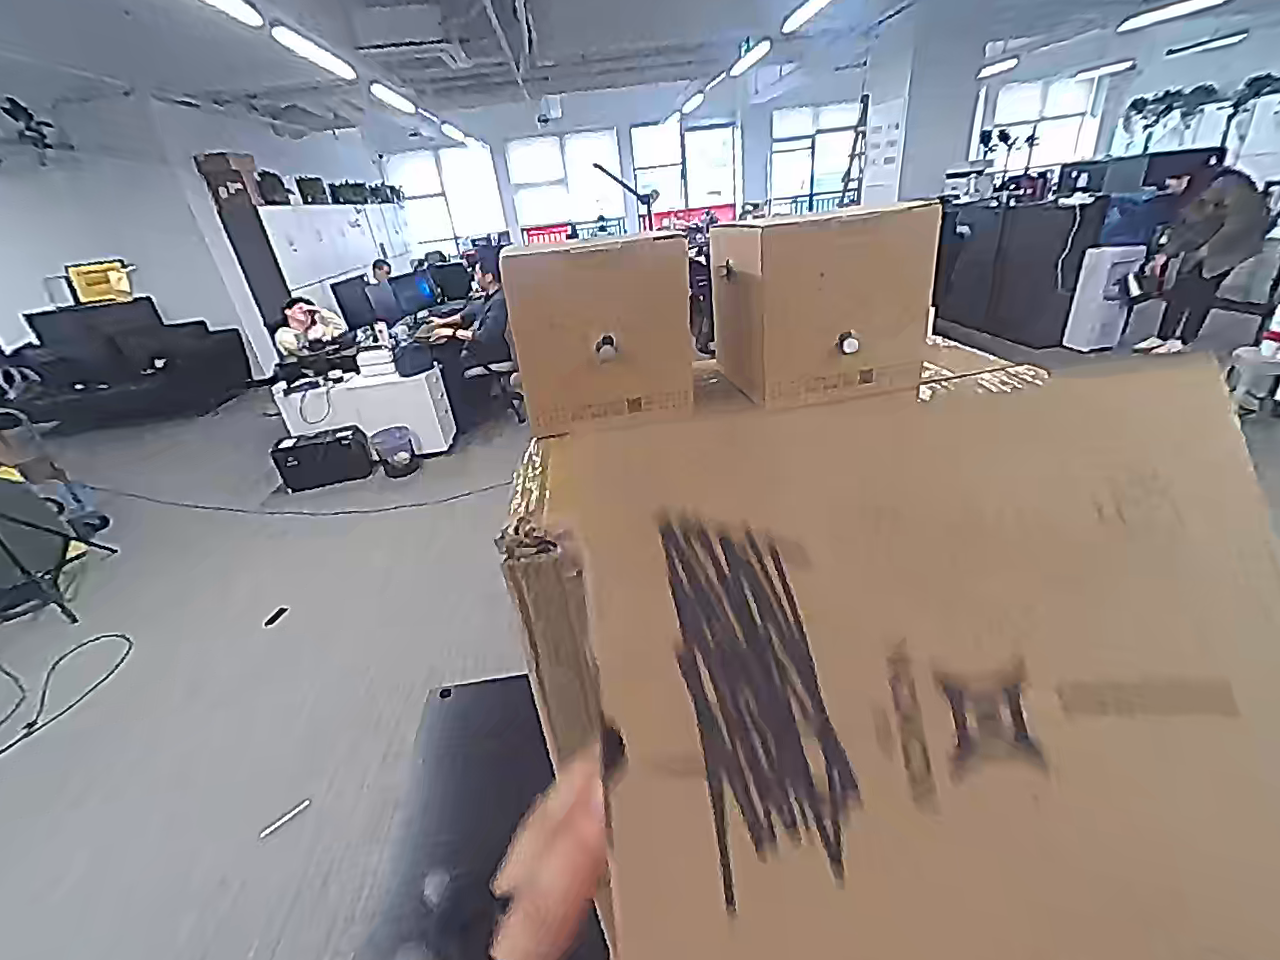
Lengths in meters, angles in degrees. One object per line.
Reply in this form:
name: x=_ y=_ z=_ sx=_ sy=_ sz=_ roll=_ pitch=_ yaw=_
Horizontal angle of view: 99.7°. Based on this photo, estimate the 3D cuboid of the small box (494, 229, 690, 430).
small box: x=-0.048 y=-0.159 z=0.568 sx=0.168 sy=0.176 sz=0.179 roll=-9 pitch=27 yaw=-7

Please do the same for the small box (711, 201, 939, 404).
small box: x=0.177 y=-0.189 z=0.572 sx=0.168 sy=0.176 sz=0.179 roll=-10 pitch=26 yaw=-4

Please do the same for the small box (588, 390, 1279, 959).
small box: x=0.085 y=0.078 z=0.209 sx=0.179 sy=0.168 sz=0.176 roll=-6 pitch=-10 yaw=4
